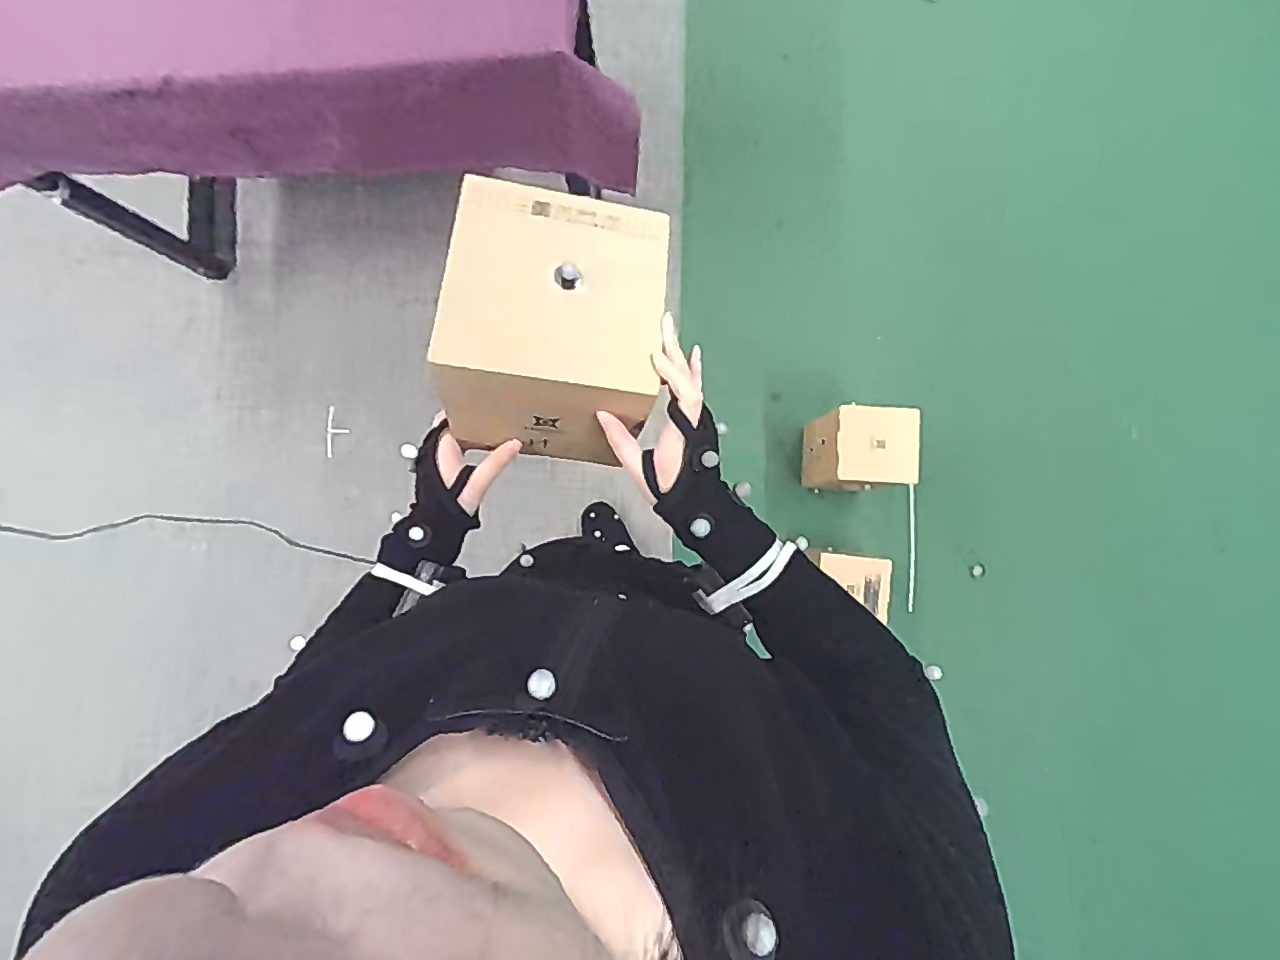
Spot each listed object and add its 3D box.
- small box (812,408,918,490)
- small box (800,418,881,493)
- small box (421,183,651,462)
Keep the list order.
[{"bbox_3d":[0.516,-0.066,1.255,0.179,0.176,0.168,4,86,2],"label":"small box"},{"bbox_3d":[0.524,-0.058,1.418,0.168,0.176,0.179,4,86,2],"label":"small box"},{"bbox_3d":[-0.087,-0.129,0.488,0.168,0.179,0.176,6,73,-10],"label":"small box"}]
